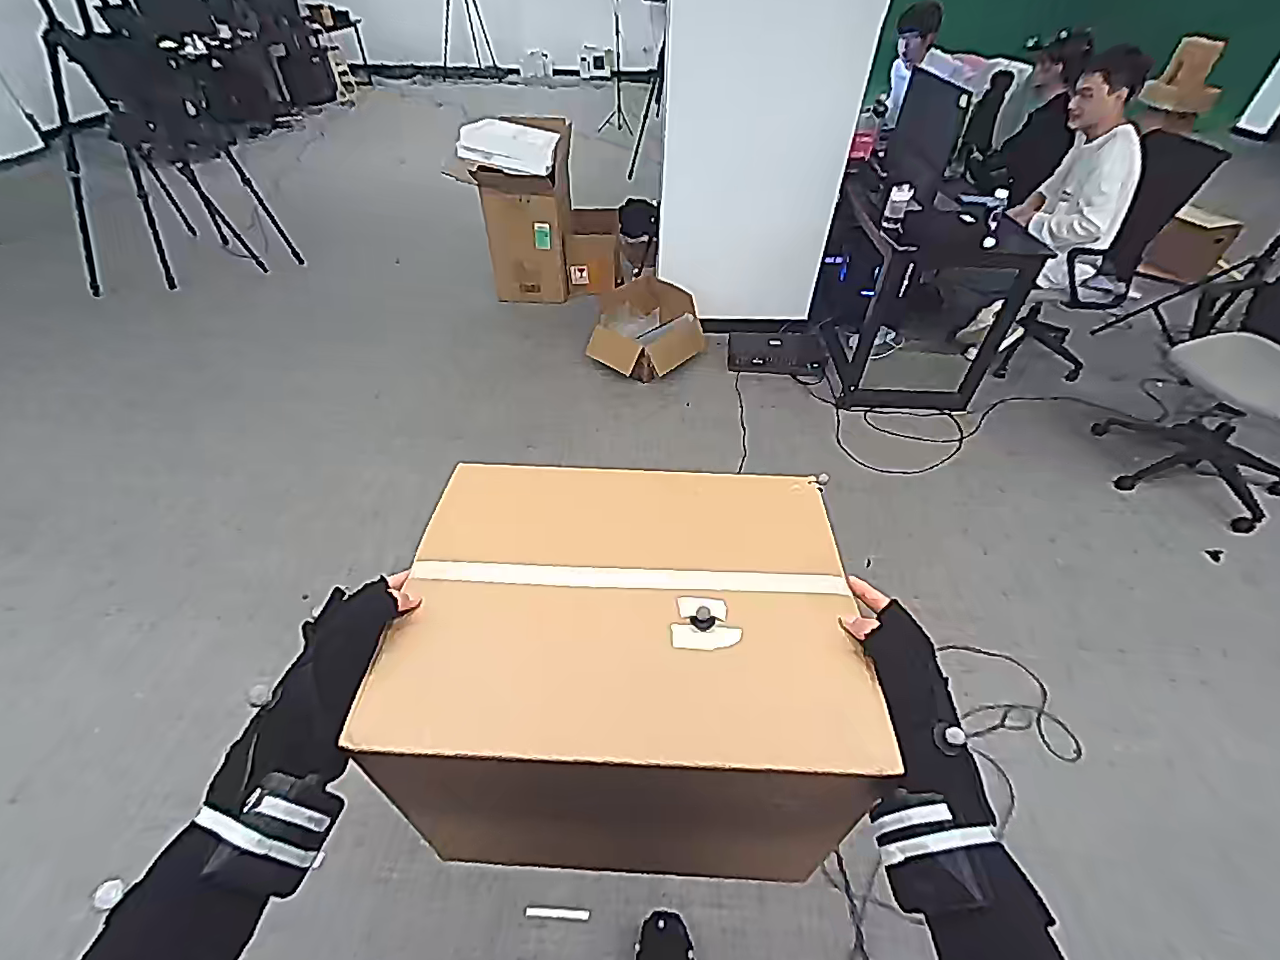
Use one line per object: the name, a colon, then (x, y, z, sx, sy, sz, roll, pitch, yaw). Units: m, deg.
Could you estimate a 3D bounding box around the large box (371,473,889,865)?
large box: (-0.009, 0.211, 0.616, 0.408, 0.320, 0.320, 3, 42, 1)
